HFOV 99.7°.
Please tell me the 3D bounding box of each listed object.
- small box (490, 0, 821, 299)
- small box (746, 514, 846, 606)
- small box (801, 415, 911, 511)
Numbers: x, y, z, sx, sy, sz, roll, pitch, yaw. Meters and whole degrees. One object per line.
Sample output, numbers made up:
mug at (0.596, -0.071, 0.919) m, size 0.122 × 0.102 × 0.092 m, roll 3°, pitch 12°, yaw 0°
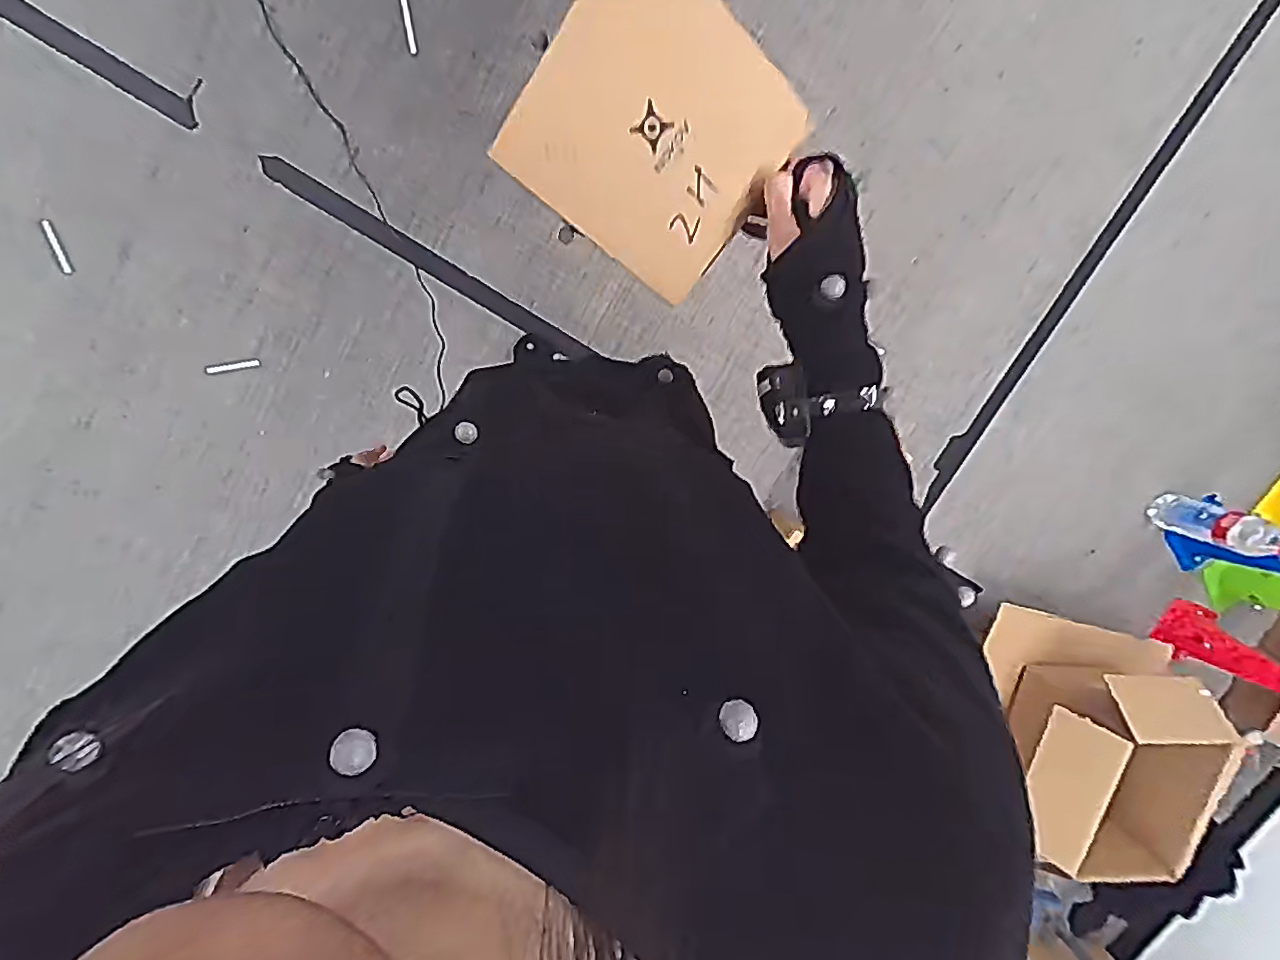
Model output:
small box at (-0.002, -0.278, 0.433) m, size 0.179 × 0.176 × 0.168 m, roll 30°, pitch 109°, yaw -28°
small box at (0.417, 0.210, 1.481) m, size 0.179 × 0.176 × 0.168 m, roll 28°, pitch 101°, yaw -14°
small box at (0.560, -0.052, 1.426) m, size 0.168 × 0.176 × 0.179 m, roll 34°, pitch 99°, yaw -15°
